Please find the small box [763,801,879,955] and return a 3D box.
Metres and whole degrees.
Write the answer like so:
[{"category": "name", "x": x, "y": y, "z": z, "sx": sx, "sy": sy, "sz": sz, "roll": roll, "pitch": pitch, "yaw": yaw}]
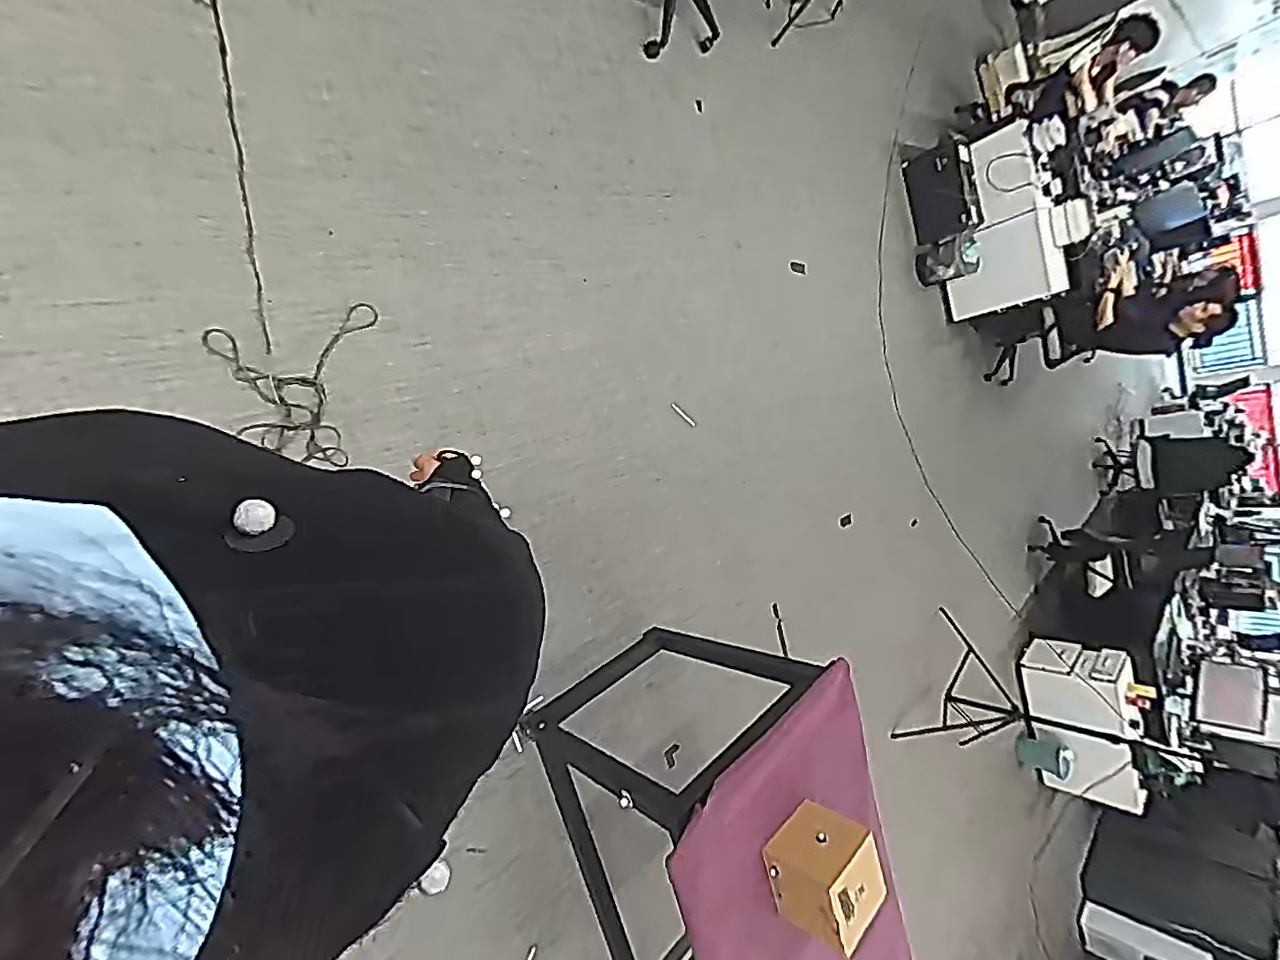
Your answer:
[{"category": "small box", "x": 0.386, "y": 0.849, "z": 1.175, "sx": 0.179, "sy": 0.176, "sz": 0.168, "roll": -22, "pitch": 101, "yaw": -38}]
